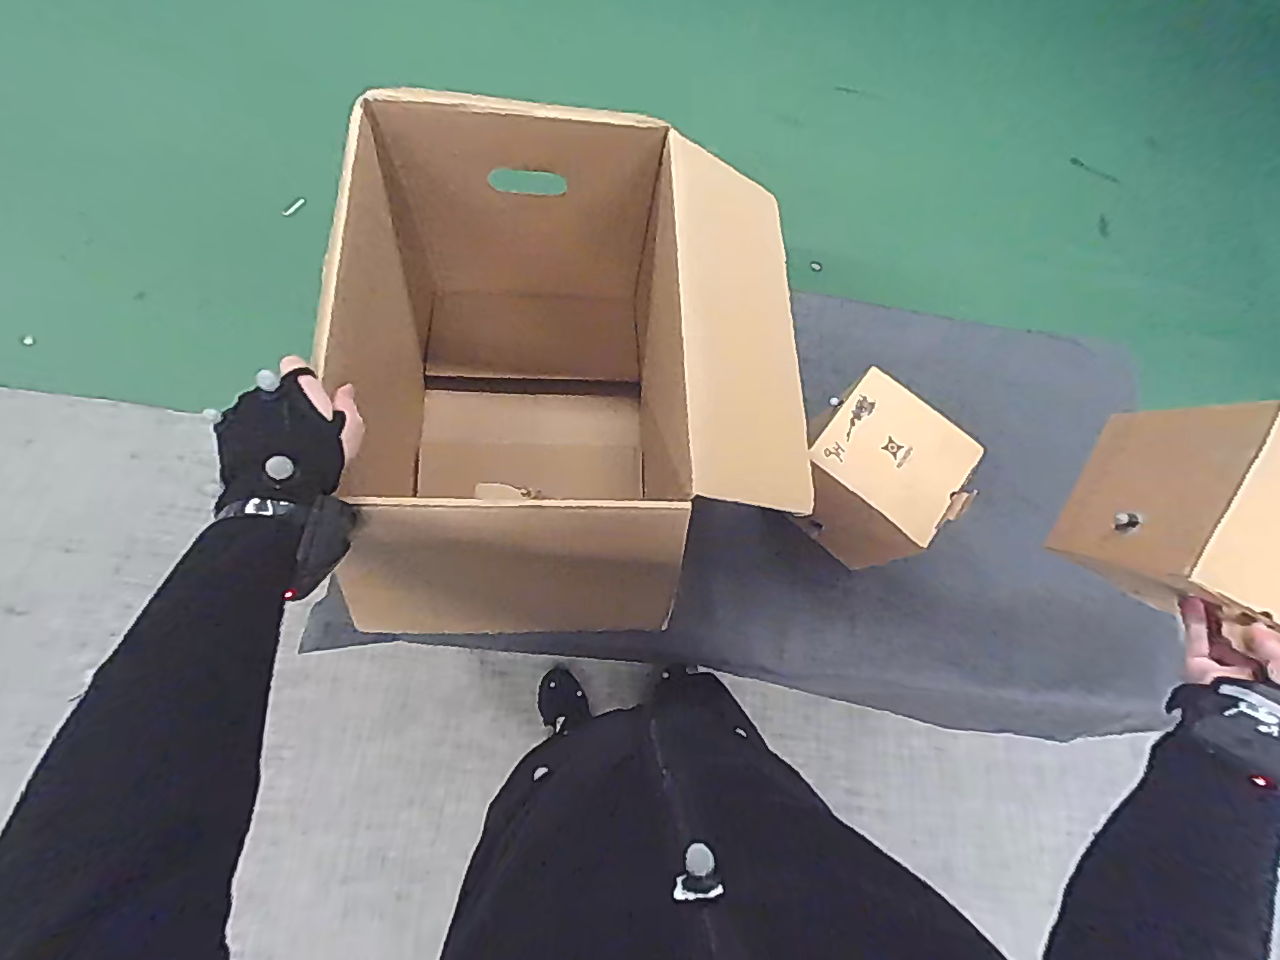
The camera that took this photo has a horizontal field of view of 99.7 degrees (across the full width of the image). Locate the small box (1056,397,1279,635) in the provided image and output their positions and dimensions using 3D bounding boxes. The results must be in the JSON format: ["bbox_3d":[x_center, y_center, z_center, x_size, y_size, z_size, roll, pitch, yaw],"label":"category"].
[{"bbox_3d":[0.583,0.038,0.552,0.168,0.176,0.179,27,91,-3],"label":"small box"}]

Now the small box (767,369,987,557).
[{"bbox_3d":[0.307,-0.011,0.735,0.179,0.176,0.168,41,74,5],"label":"small box"}]
